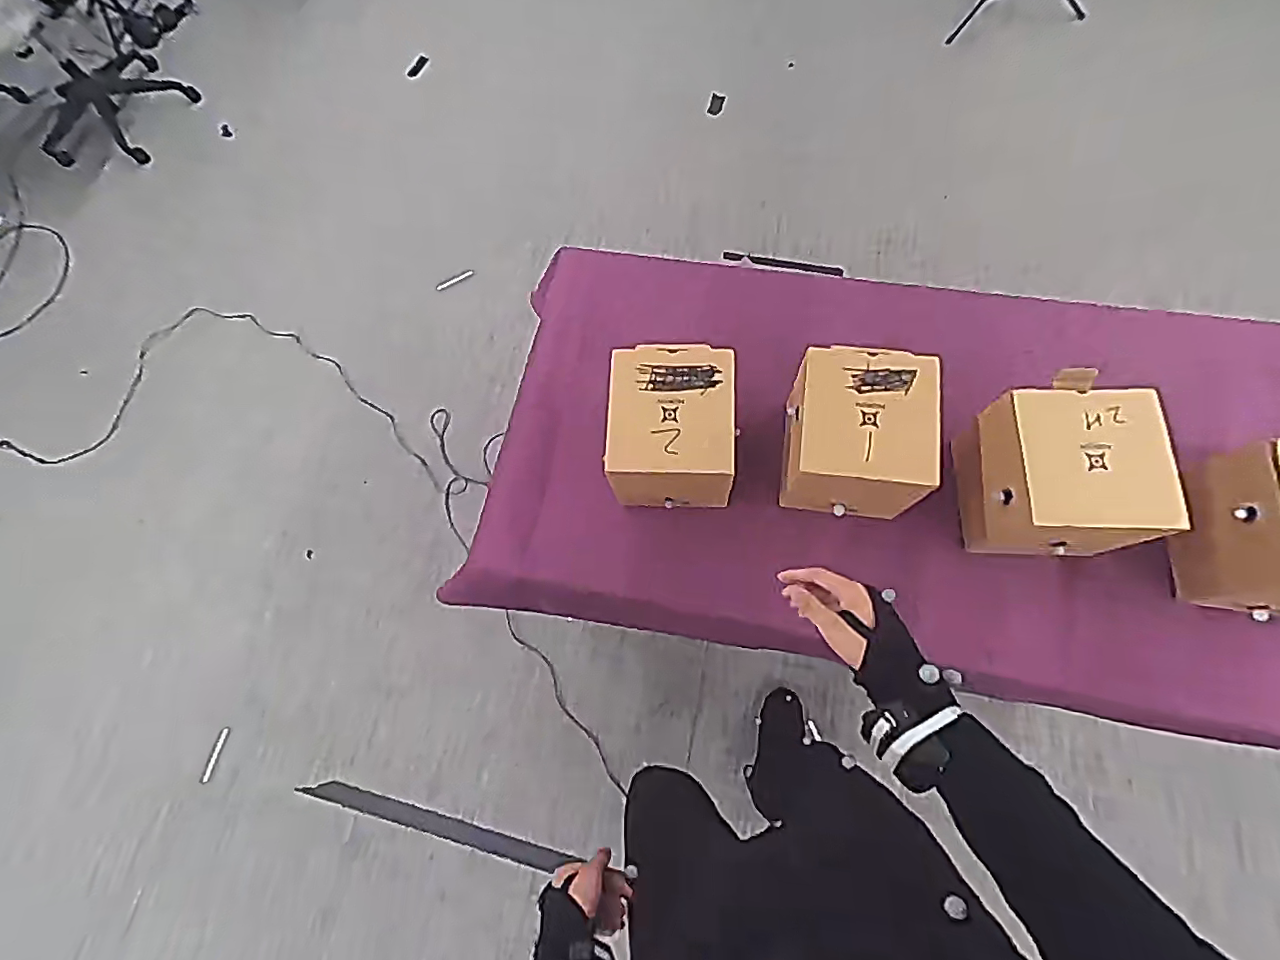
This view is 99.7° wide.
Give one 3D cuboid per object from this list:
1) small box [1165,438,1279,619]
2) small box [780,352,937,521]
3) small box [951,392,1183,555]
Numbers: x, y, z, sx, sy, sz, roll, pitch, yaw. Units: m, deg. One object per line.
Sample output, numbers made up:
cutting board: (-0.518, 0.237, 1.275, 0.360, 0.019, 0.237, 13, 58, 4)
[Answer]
small box: (0.798, 0.067, 0.665, 0.168, 0.176, 0.179, 6, 72, 9)
small box: (0.294, -0.055, 0.756, 0.168, 0.176, 0.179, 6, 73, 8)
small box: (0.539, 0.000, 0.713, 0.168, 0.176, 0.179, 1, 71, 6)
